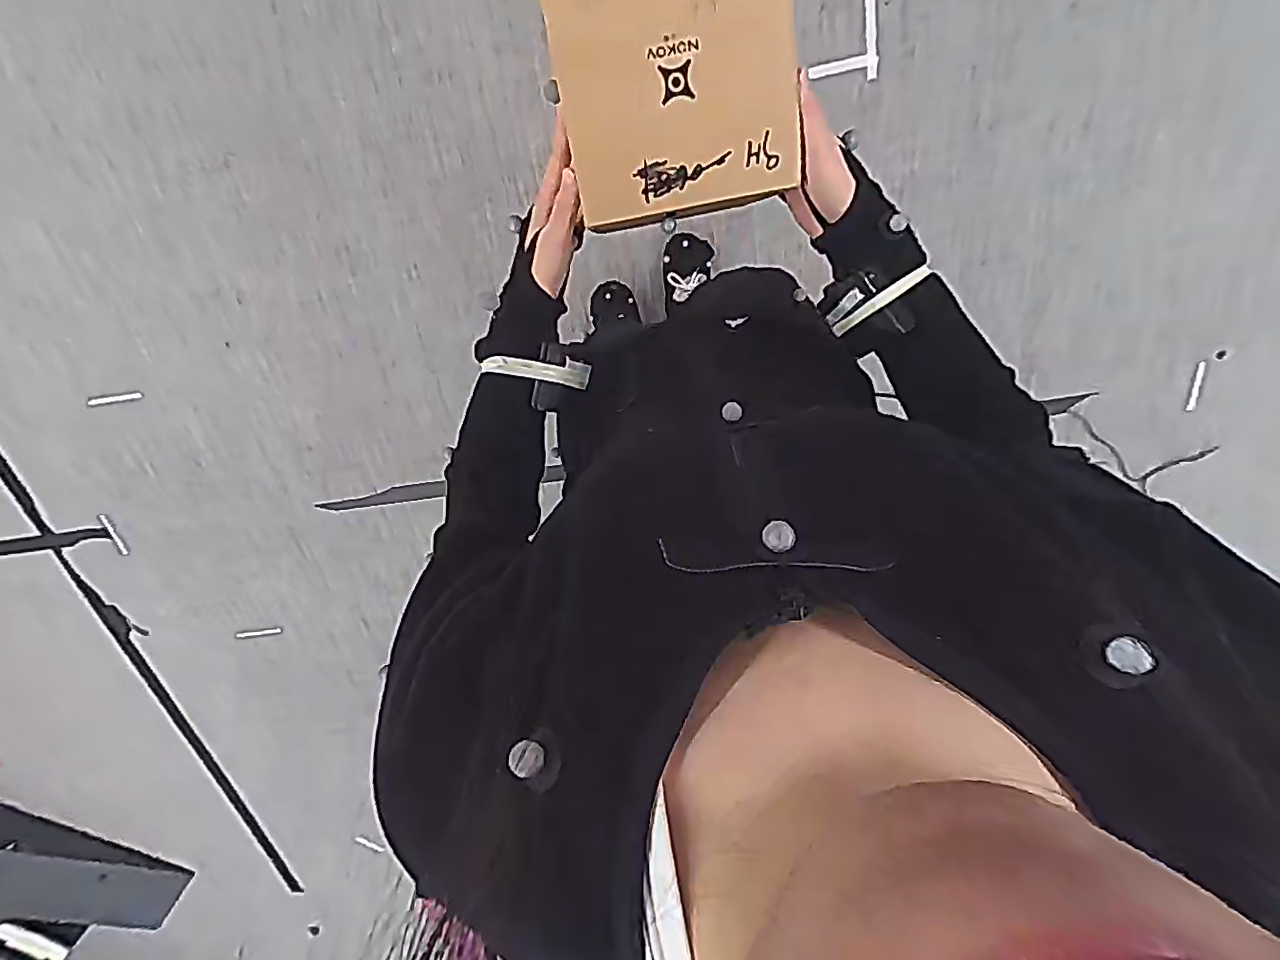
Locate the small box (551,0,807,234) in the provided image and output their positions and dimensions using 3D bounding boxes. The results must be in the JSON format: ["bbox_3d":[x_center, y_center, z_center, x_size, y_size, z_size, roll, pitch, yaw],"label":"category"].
[{"bbox_3d":[0.025,-0.311,0.441,0.168,0.176,0.179,-10,113,2],"label":"small box"}]

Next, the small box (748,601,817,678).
[{"bbox_3d":[0.446,0.498,1.705,0.179,0.176,0.168,-6,113,3],"label":"small box"}]
